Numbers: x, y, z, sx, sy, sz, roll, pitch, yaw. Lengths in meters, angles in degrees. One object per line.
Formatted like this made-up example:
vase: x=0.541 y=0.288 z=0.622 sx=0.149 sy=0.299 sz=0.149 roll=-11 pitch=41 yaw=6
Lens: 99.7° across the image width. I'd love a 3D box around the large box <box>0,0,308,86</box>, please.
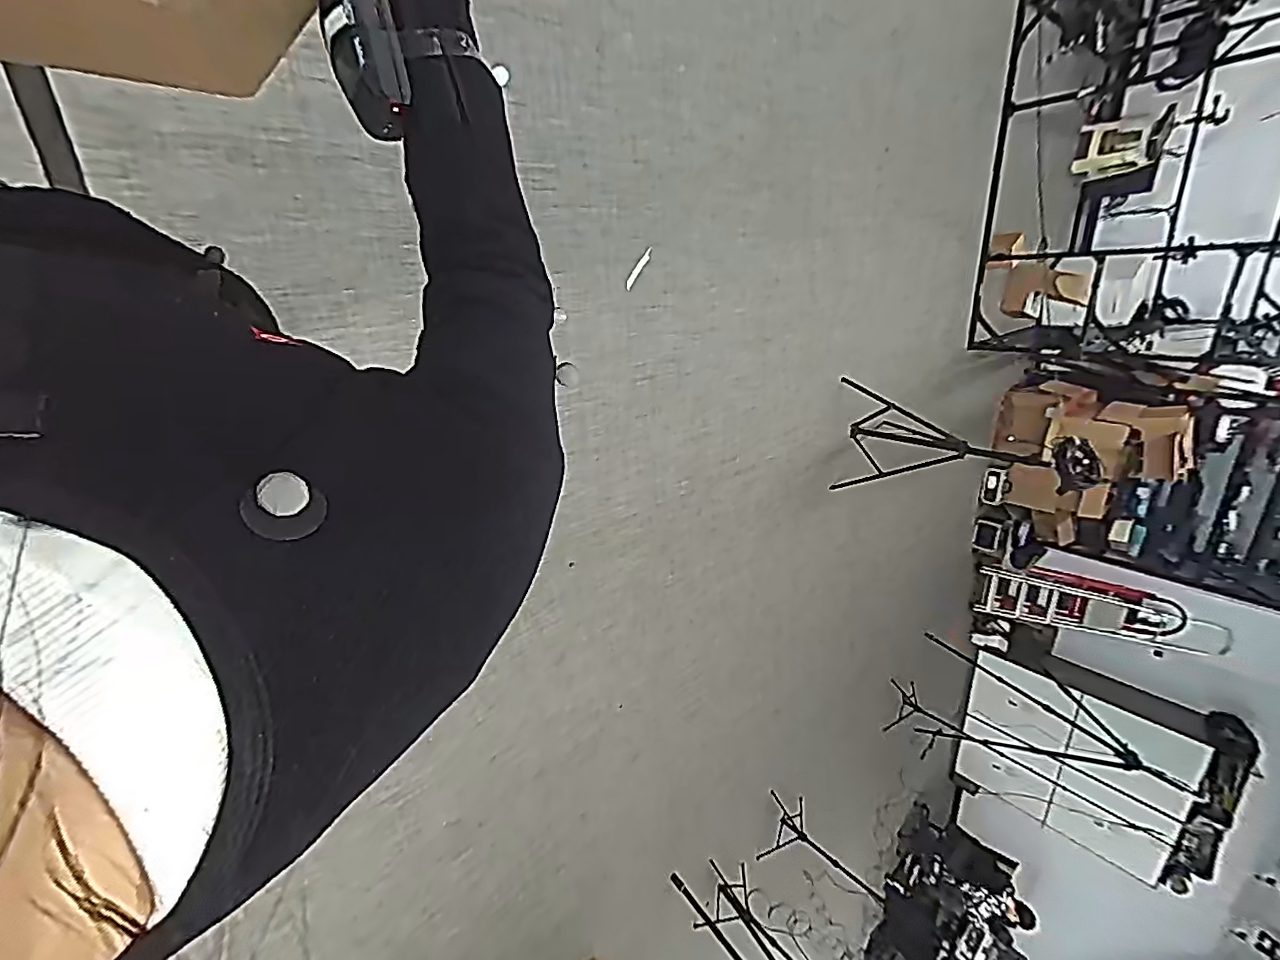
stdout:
large box: x=-0.429 y=-0.423 z=0.242 sx=0.408 sy=0.320 sz=0.320 roll=-19 pitch=120 yaw=-38
